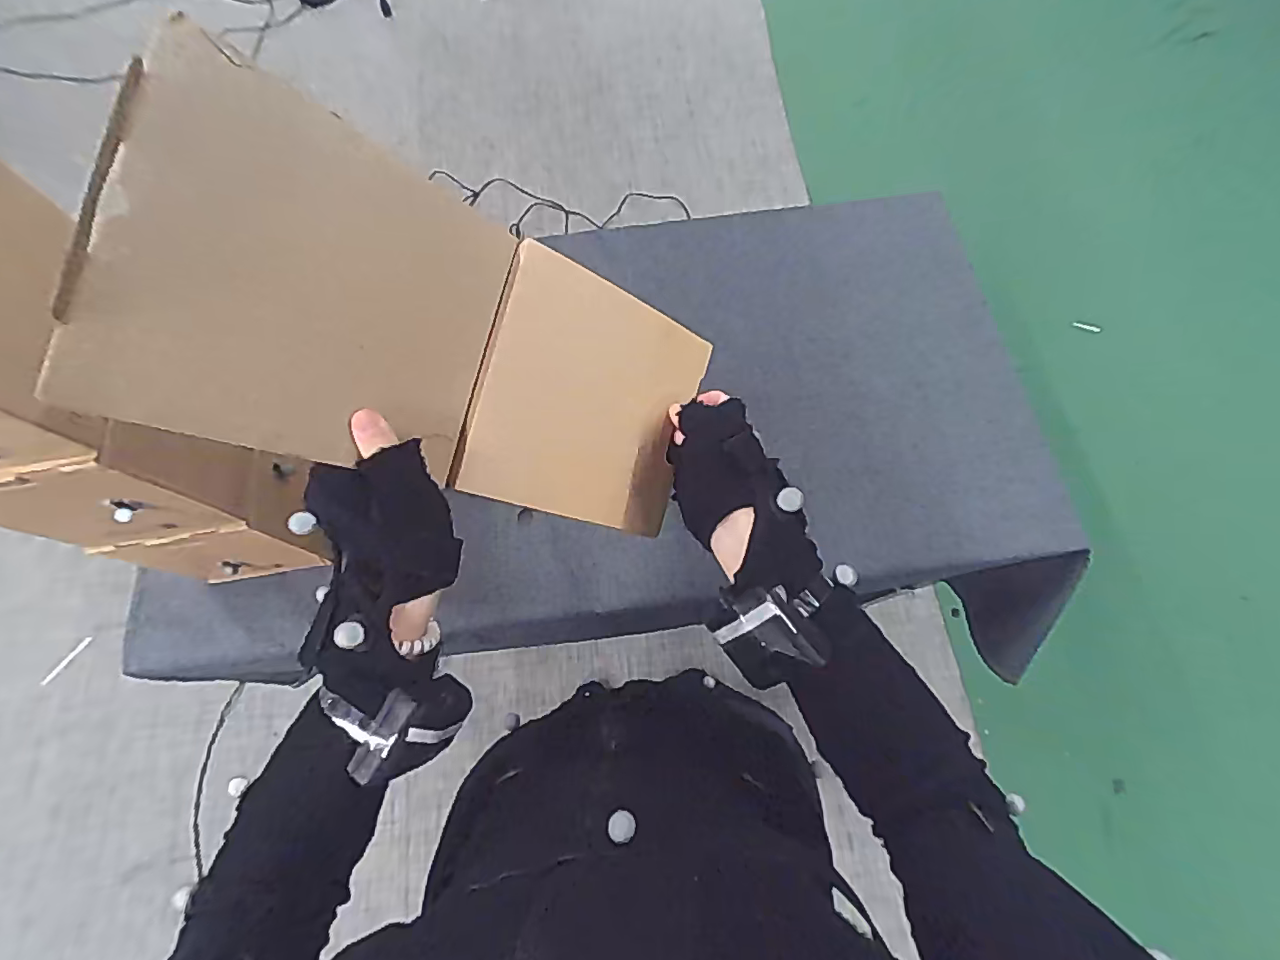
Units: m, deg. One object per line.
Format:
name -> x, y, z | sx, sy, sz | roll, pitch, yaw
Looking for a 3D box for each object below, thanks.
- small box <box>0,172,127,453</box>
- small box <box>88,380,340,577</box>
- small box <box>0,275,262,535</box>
small box -> -0.491, -0.118, 0.347 | 0.168, 0.176, 0.179 | -9, 69, -4
small box -> -0.486, 0.006, 0.650 | 0.168, 0.176, 0.179 | -9, 70, -2
small box -> -0.487, -0.054, 0.498 | 0.168, 0.176, 0.179 | -8, 70, -3
